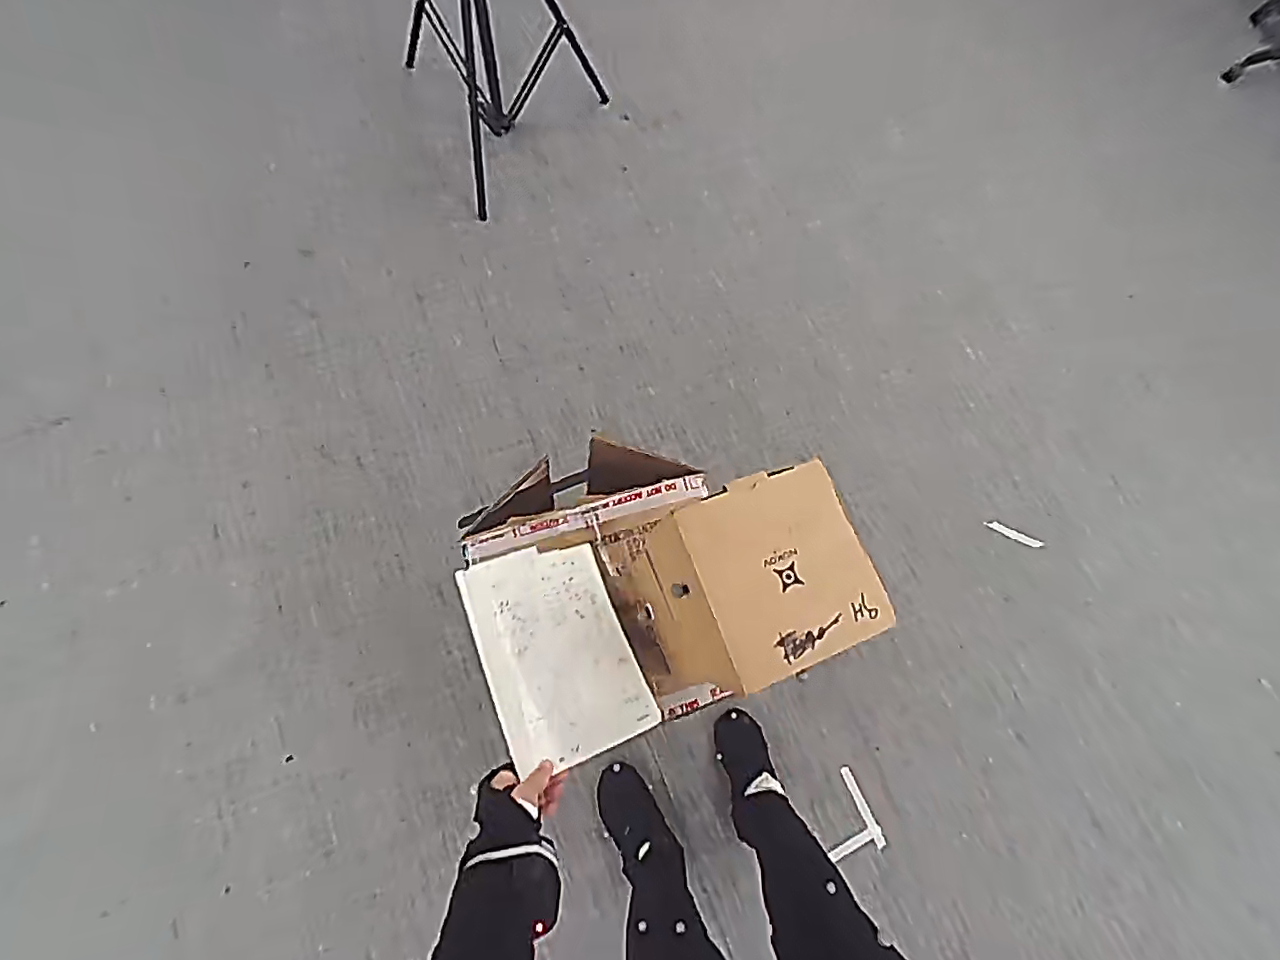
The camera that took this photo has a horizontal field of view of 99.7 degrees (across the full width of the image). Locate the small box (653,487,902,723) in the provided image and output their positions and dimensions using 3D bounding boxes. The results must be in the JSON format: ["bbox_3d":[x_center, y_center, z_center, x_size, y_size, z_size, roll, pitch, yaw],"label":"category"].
[{"bbox_3d":[0.126,0.131,0.574,0.168,0.176,0.179,-19,77,-14],"label":"small box"}]

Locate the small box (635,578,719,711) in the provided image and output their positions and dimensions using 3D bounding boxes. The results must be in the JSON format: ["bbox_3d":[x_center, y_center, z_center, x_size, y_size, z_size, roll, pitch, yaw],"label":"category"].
[{"bbox_3d":[0.109,0.184,0.729,0.179,0.176,0.168,-22,78,-13],"label":"small box"}]
